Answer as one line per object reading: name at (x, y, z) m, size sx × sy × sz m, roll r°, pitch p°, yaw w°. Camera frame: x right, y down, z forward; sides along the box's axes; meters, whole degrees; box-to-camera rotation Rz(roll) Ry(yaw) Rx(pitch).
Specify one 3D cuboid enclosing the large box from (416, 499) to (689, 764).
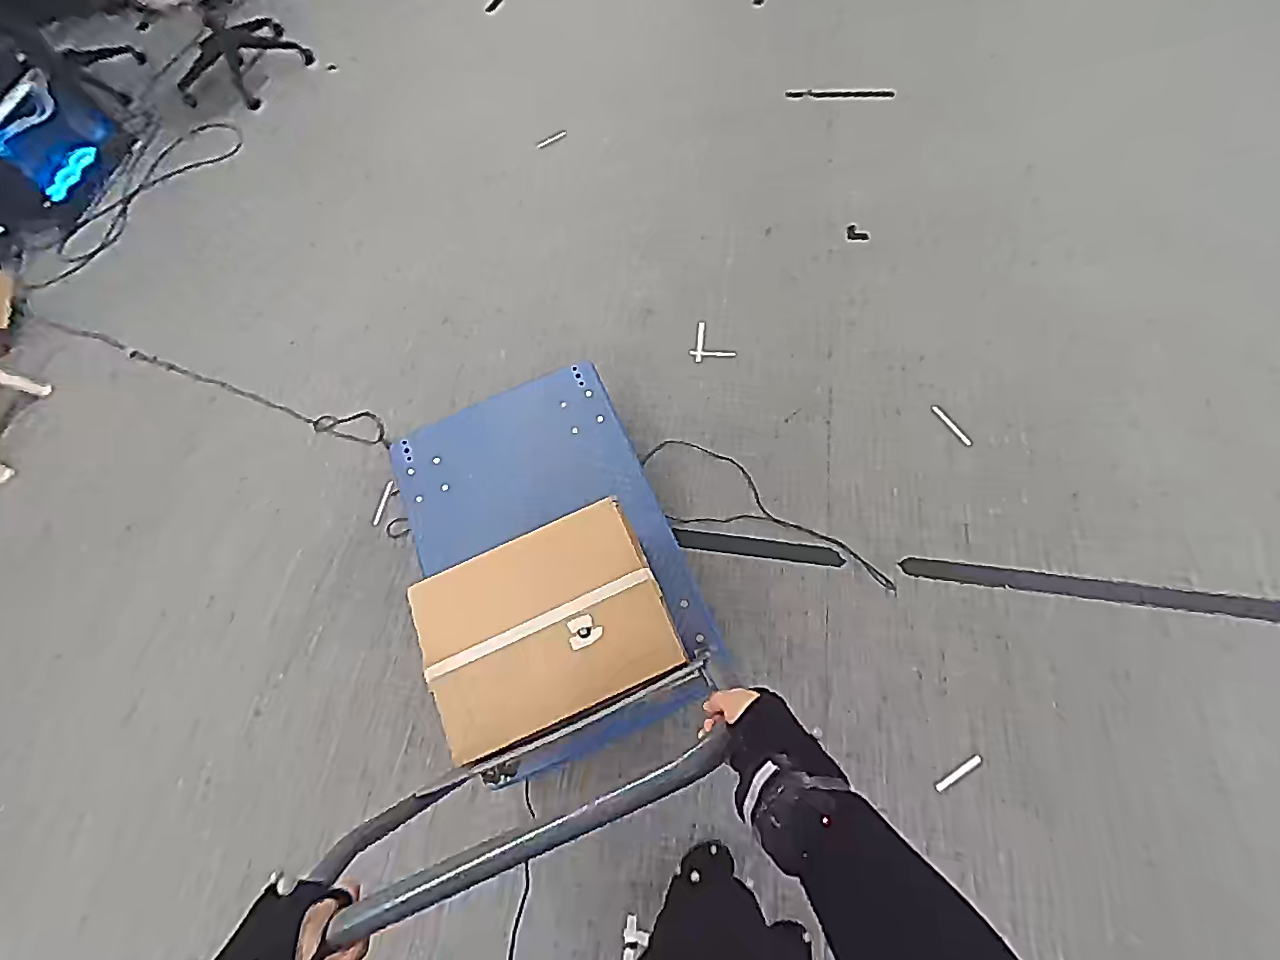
large box at (-0.148, 0.296, 1.061) m, size 0.408 × 0.320 × 0.320 m, roll -25°, pitch 70°, yaw -3°
